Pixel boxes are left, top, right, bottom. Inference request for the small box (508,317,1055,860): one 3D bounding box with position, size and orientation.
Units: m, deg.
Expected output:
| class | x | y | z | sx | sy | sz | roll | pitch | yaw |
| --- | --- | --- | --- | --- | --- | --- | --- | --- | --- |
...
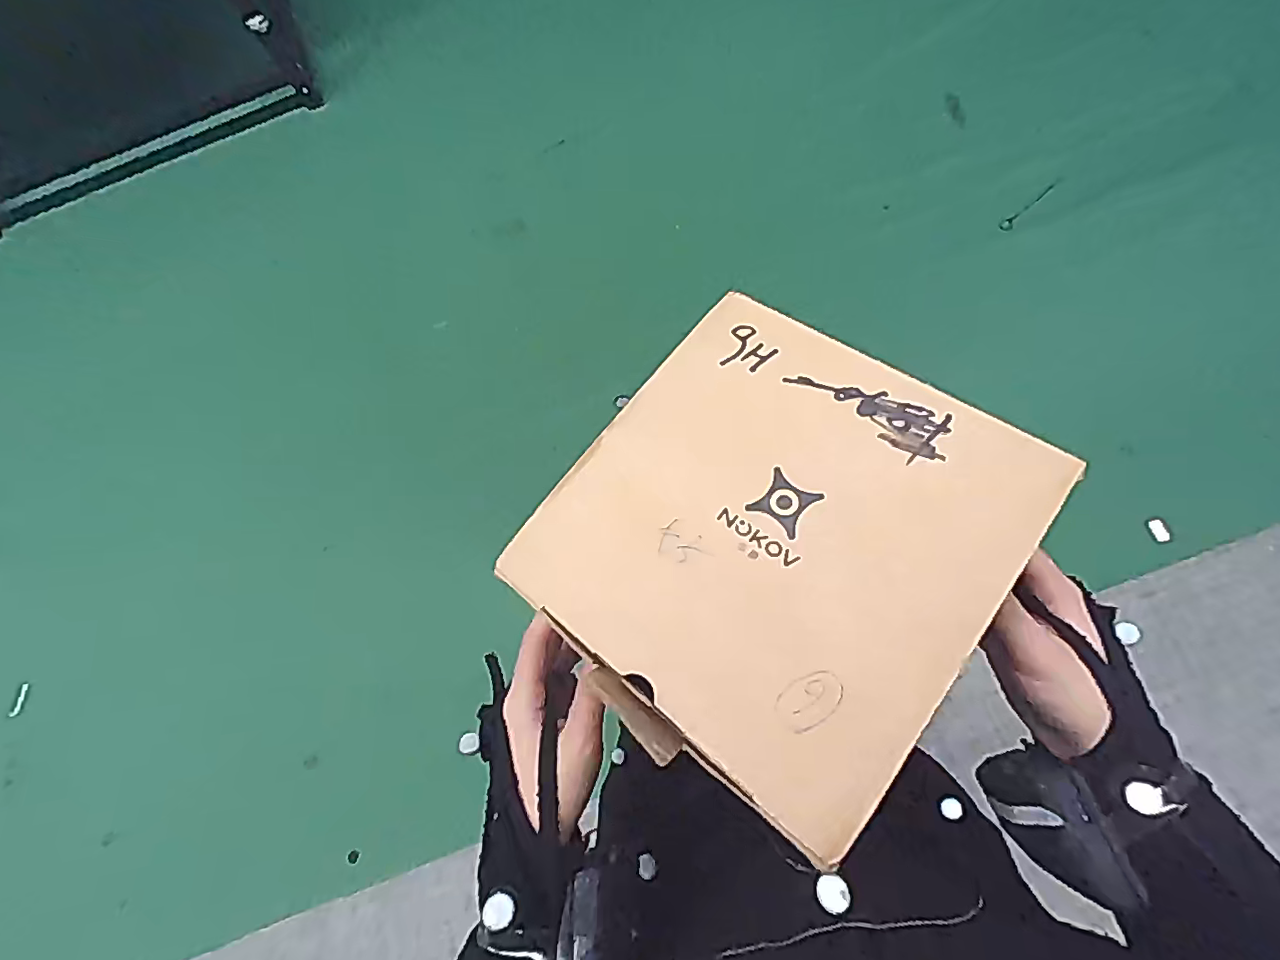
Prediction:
| class | x | y | z | sx | sy | sz | roll | pitch | yaw |
| --- | --- | --- | --- | --- | --- | --- | --- | --- | --- |
| small box | 0.068 | 0.054 | 0.302 | 0.168 | 0.176 | 0.179 | 35 | 78 | 22 |
